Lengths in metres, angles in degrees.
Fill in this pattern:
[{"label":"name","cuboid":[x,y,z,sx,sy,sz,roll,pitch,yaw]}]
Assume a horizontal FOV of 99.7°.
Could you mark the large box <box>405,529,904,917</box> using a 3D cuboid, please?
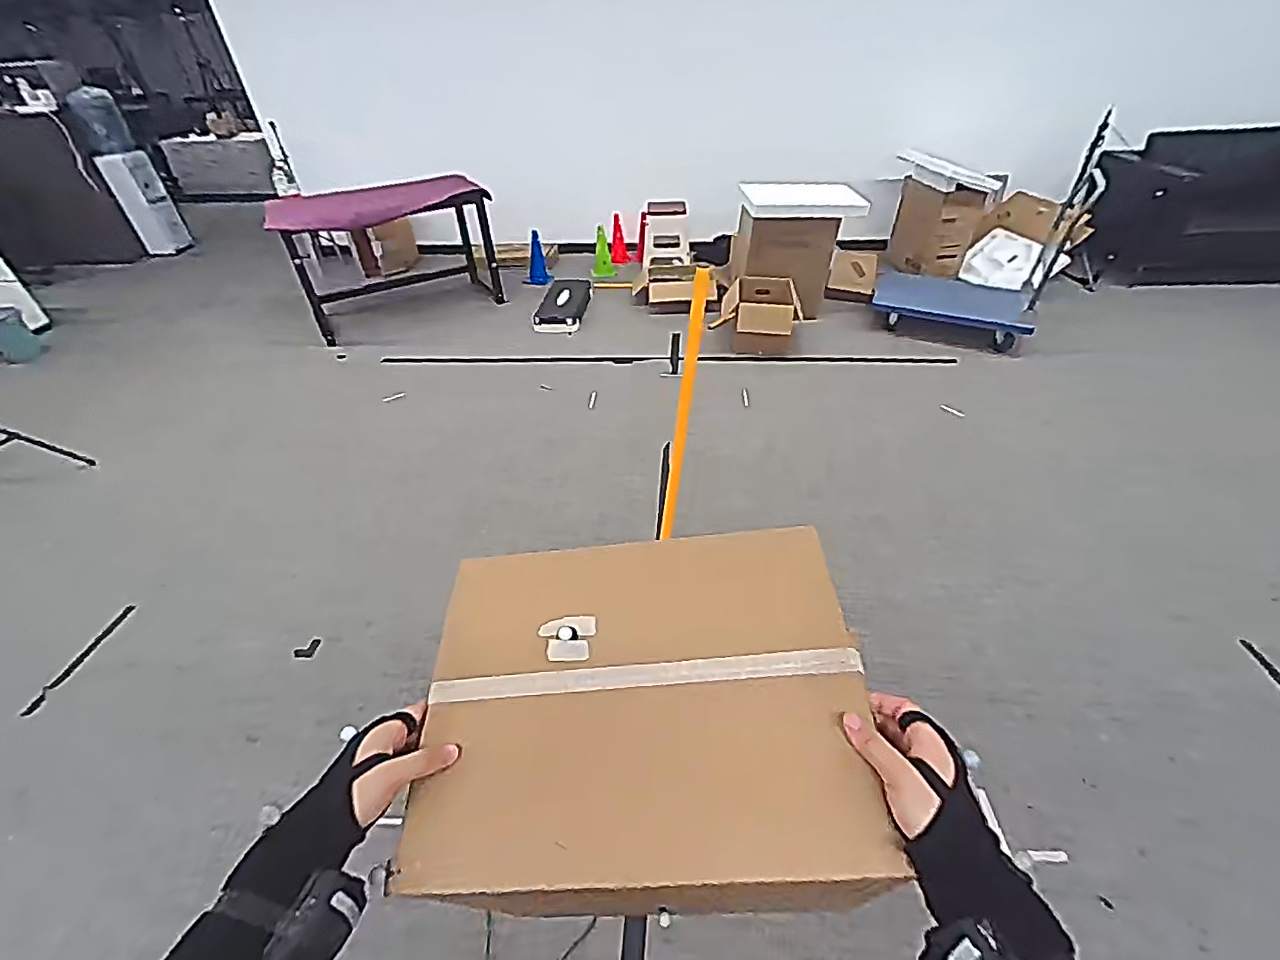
[{"label":"large box","cuboid":[0.024,0.292,0.627,0.408,0.320,0.320,-8,46,6]}]
